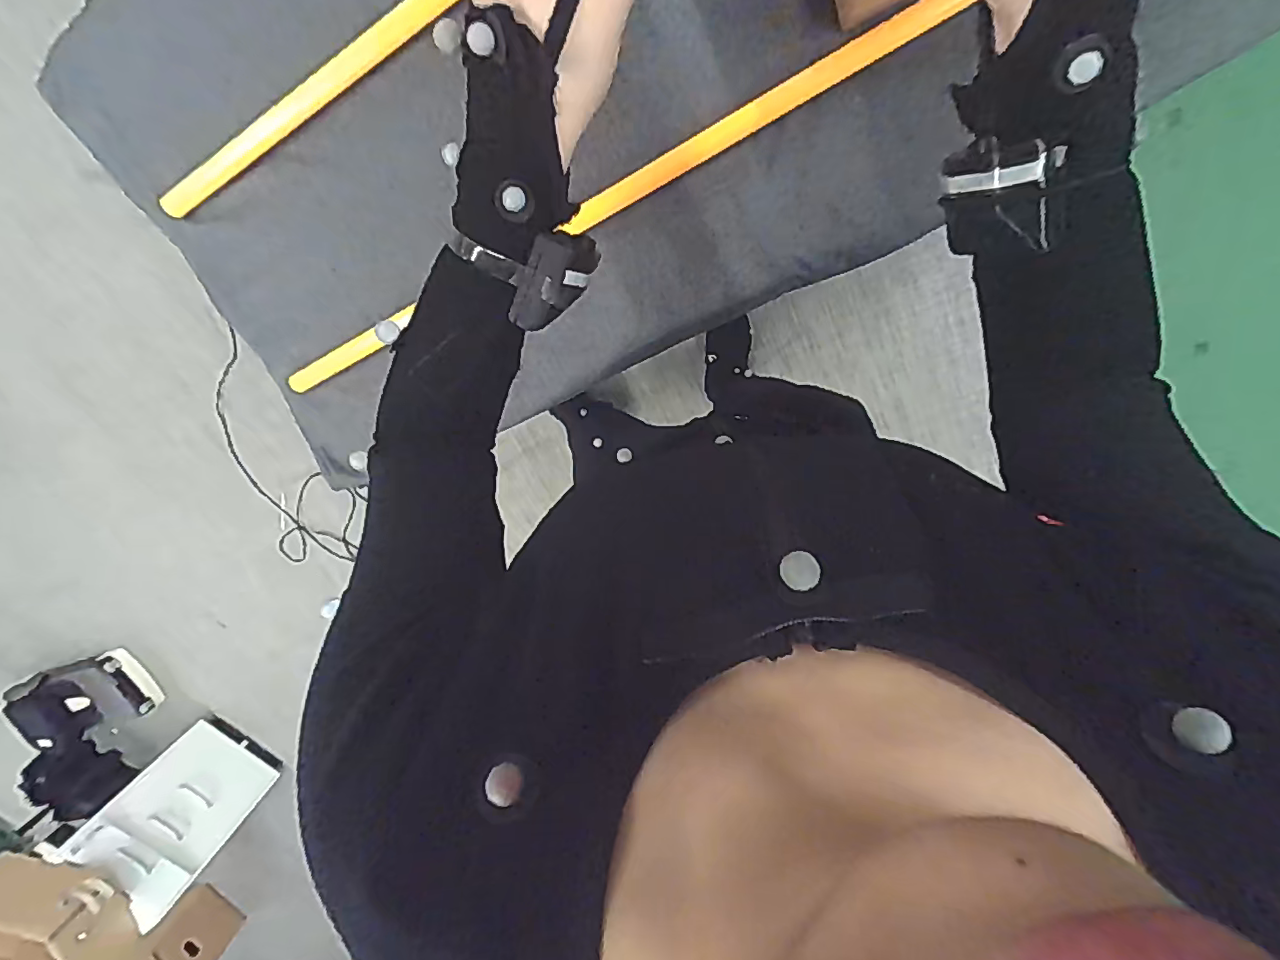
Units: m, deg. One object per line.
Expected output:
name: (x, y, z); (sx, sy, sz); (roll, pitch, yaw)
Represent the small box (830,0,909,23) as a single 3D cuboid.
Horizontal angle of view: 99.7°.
small box: (0.225, -0.499, 0.413); (0.168, 0.176, 0.179); (-18, 110, 17)
